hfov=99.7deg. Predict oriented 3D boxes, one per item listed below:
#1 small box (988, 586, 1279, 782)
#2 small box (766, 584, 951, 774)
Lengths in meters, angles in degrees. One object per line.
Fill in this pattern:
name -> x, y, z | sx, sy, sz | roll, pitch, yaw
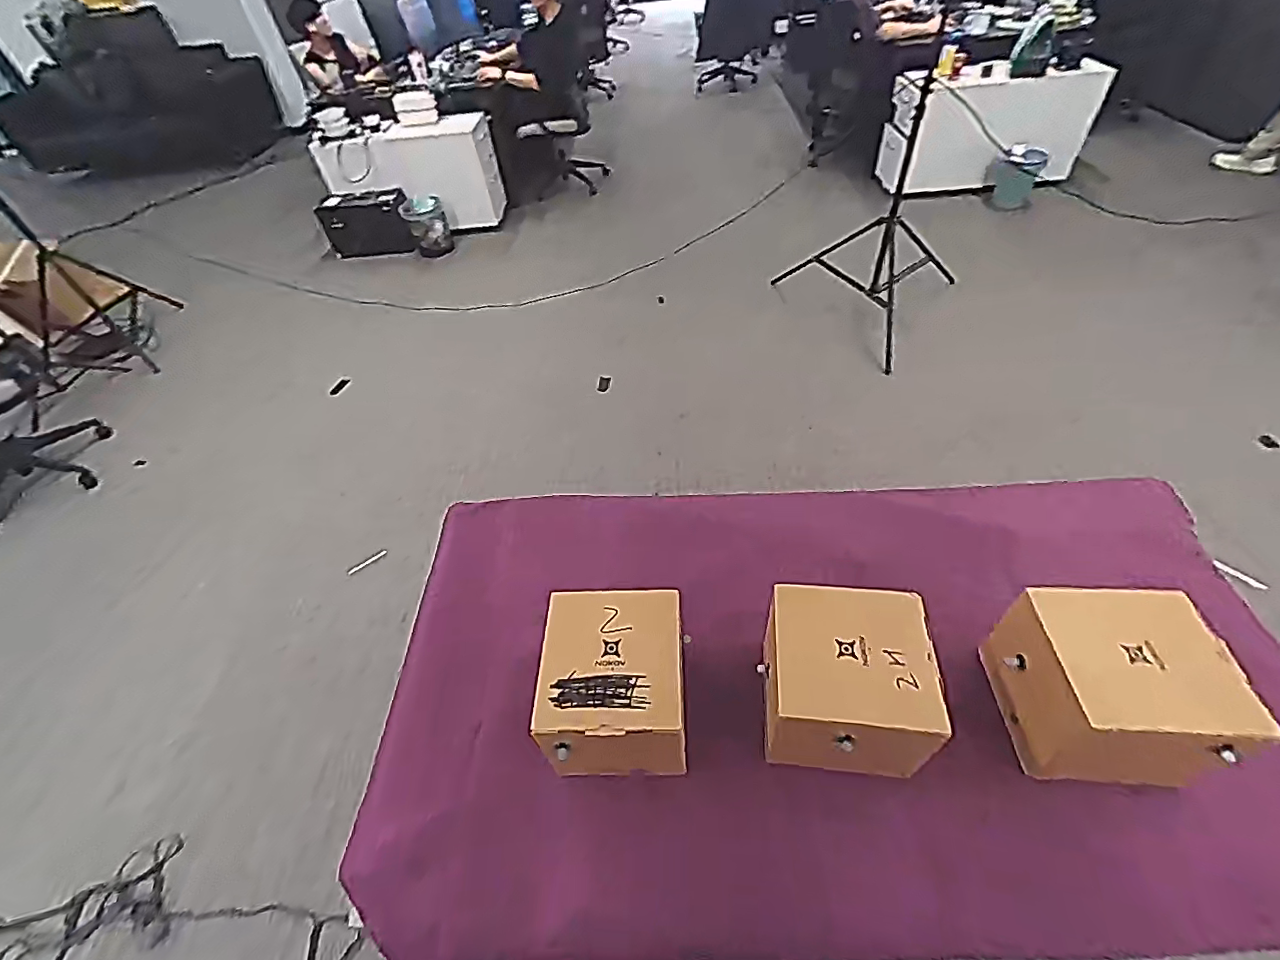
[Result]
small box -> 0.548, 0.243, 0.641 | 0.179, 0.176, 0.168 | 0, 46, 6
small box -> 0.250, 0.248, 0.671 | 0.179, 0.176, 0.168 | 3, 48, 9
